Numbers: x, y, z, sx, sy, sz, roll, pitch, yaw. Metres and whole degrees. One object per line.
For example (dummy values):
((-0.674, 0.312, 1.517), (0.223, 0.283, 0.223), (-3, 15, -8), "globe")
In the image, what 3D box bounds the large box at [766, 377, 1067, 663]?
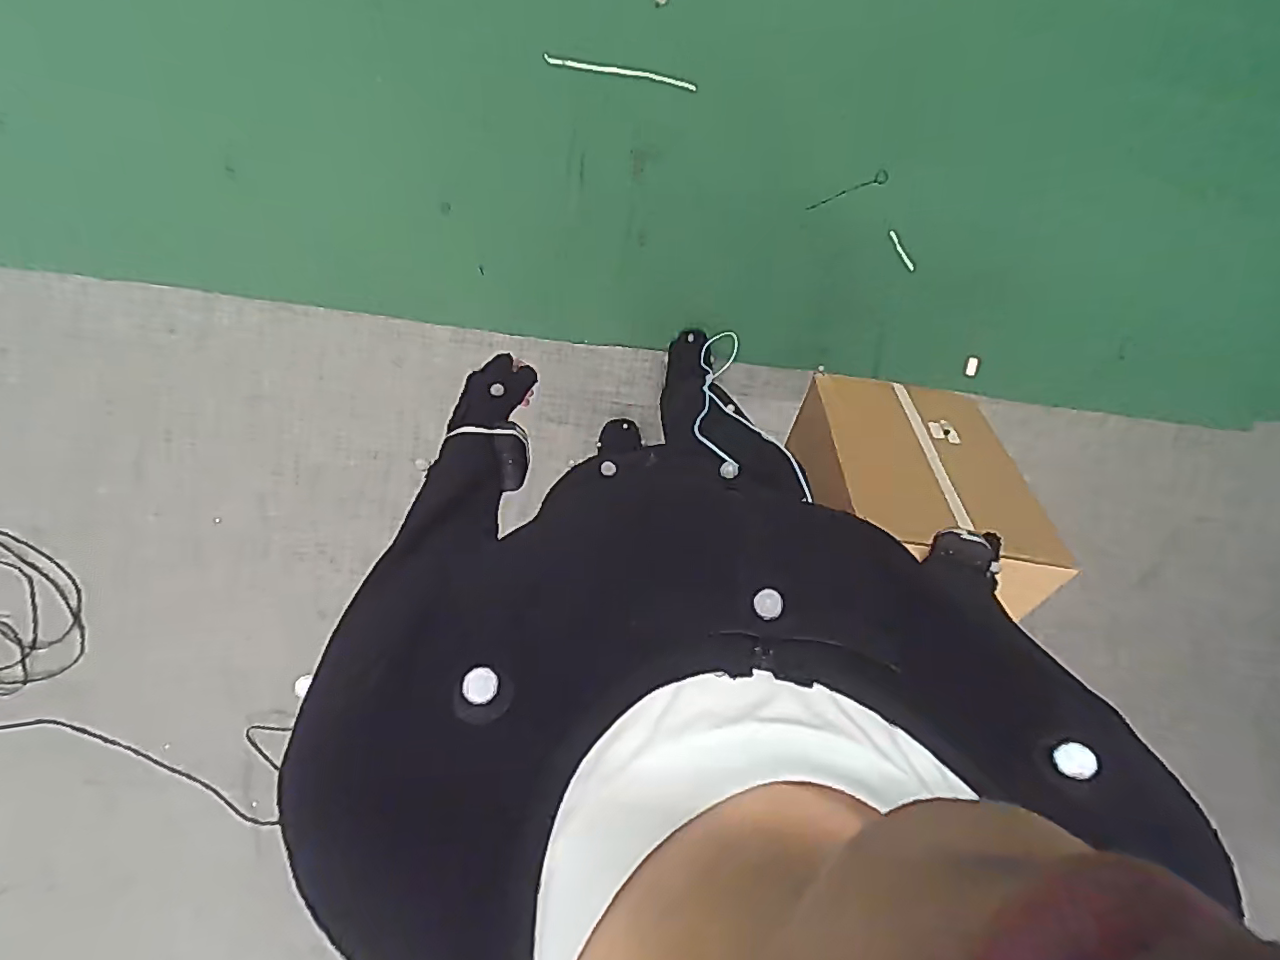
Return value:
((0.439, 0.069, 0.989), (0.320, 0.408, 0.320), (10, 134, -4), "large box")
